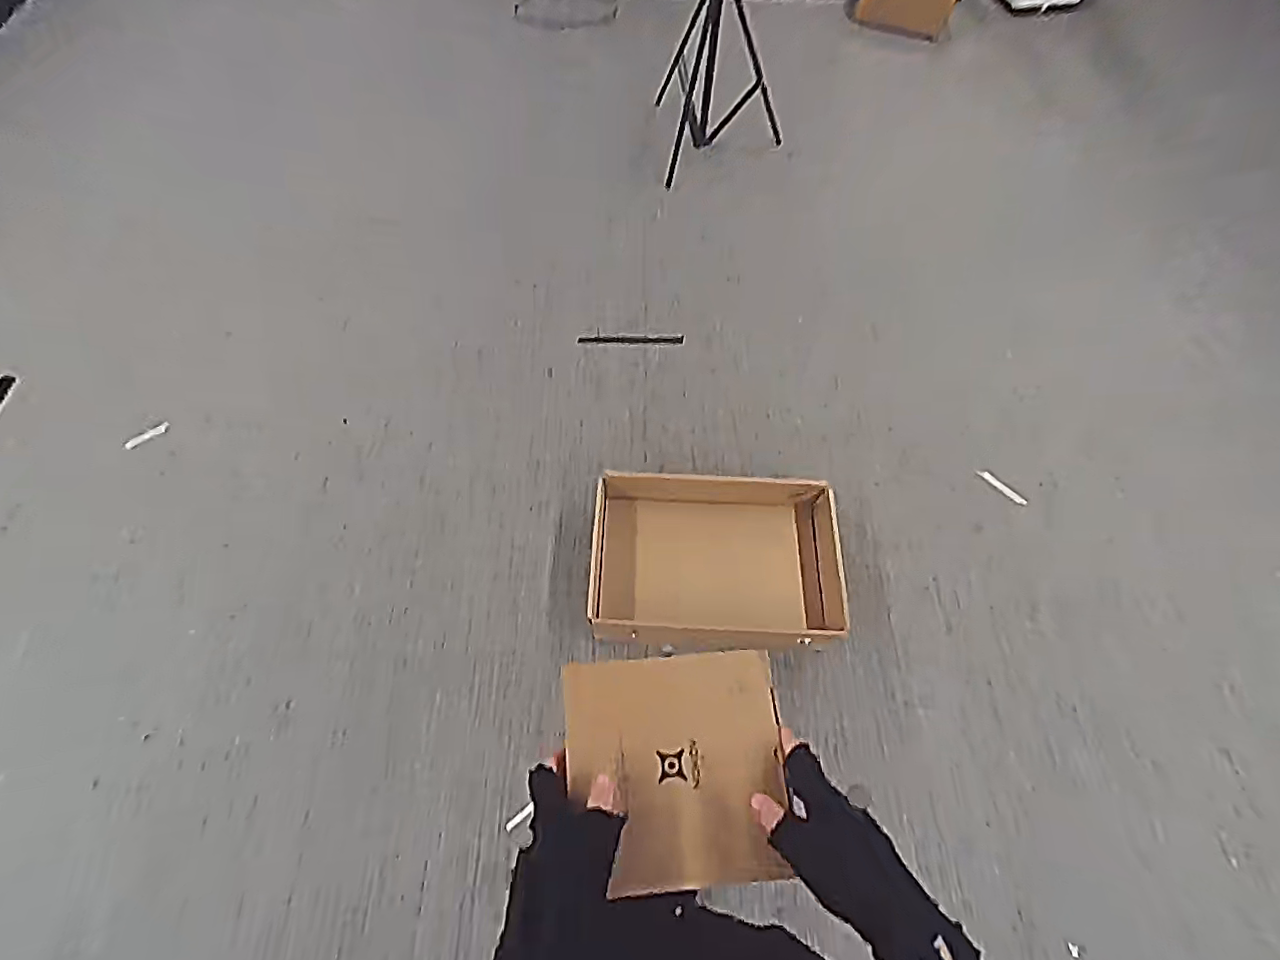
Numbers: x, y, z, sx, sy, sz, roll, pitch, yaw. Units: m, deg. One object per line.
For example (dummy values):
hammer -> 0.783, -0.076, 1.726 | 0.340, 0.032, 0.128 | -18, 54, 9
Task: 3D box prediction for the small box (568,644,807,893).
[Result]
small box -> 0.032, 0.254, 0.504 | 0.179, 0.176, 0.168 | -6, 66, -2
